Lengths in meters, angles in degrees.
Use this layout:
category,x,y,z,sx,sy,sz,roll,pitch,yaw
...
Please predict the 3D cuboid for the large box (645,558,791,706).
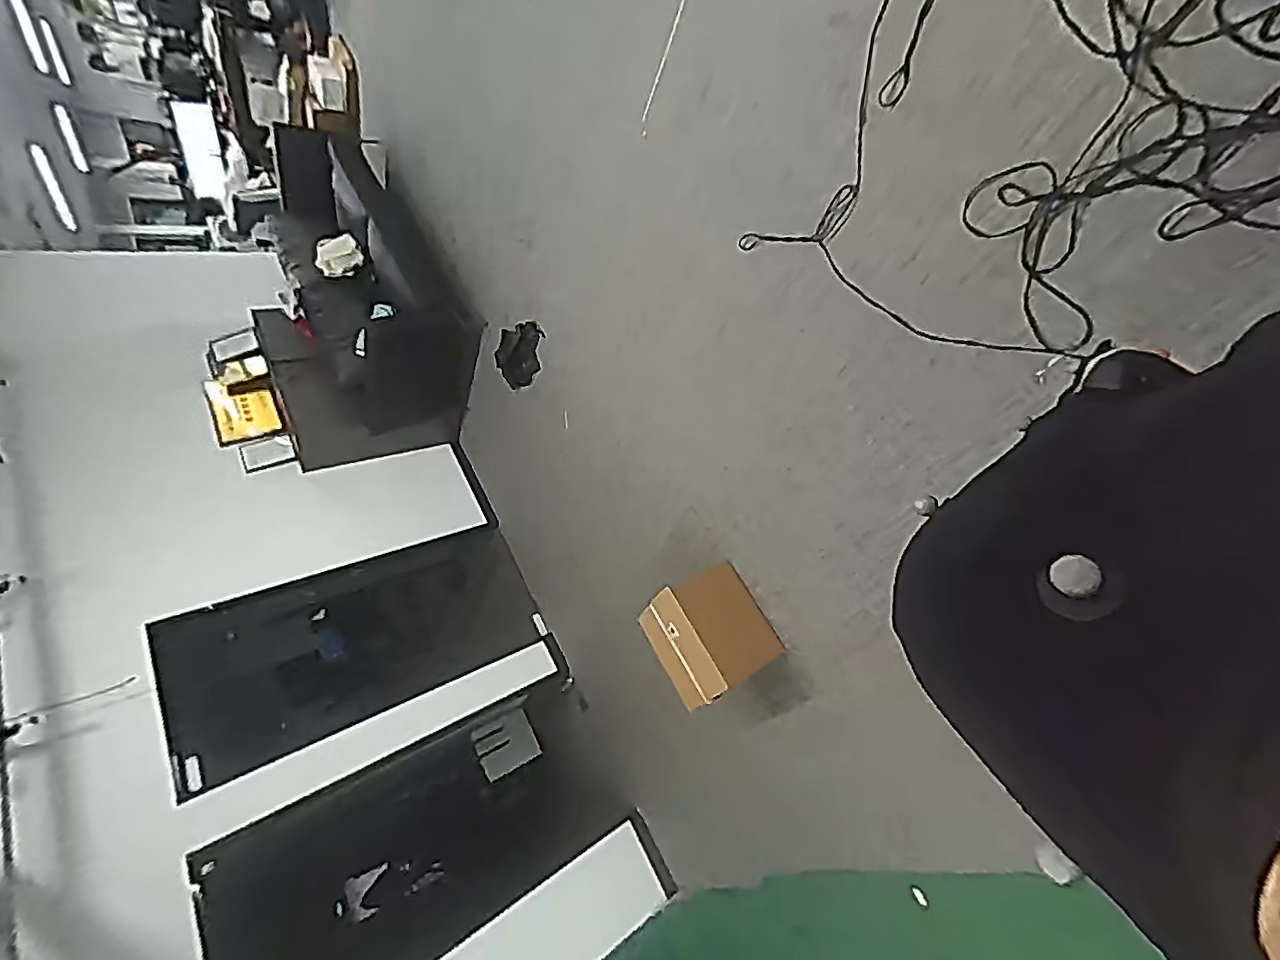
category,x,y,z,sx,sy,sz,roll,pitch,yaw
large box,0.287,0.572,2.058,0.408,0.320,0.320,59,143,22
